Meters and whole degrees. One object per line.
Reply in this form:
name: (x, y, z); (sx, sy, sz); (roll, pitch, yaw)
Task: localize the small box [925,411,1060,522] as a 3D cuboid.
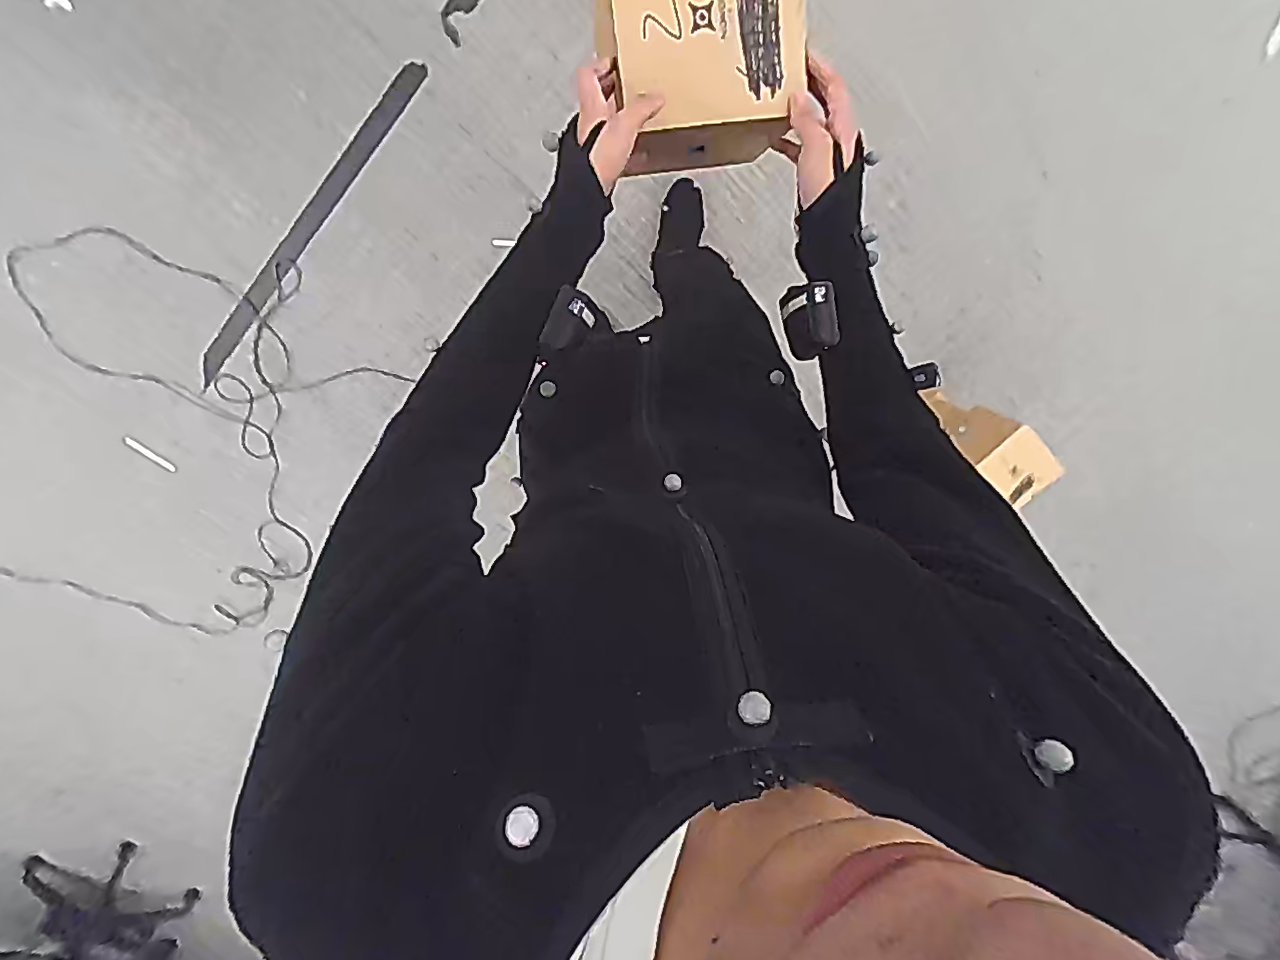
small box: (0.829, -0.040, 1.287); (0.179, 0.176, 0.168); (39, 104, -18)

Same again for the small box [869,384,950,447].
small box: (0.819, -0.160, 1.592); (0.179, 0.176, 0.168); (37, 106, -18)
